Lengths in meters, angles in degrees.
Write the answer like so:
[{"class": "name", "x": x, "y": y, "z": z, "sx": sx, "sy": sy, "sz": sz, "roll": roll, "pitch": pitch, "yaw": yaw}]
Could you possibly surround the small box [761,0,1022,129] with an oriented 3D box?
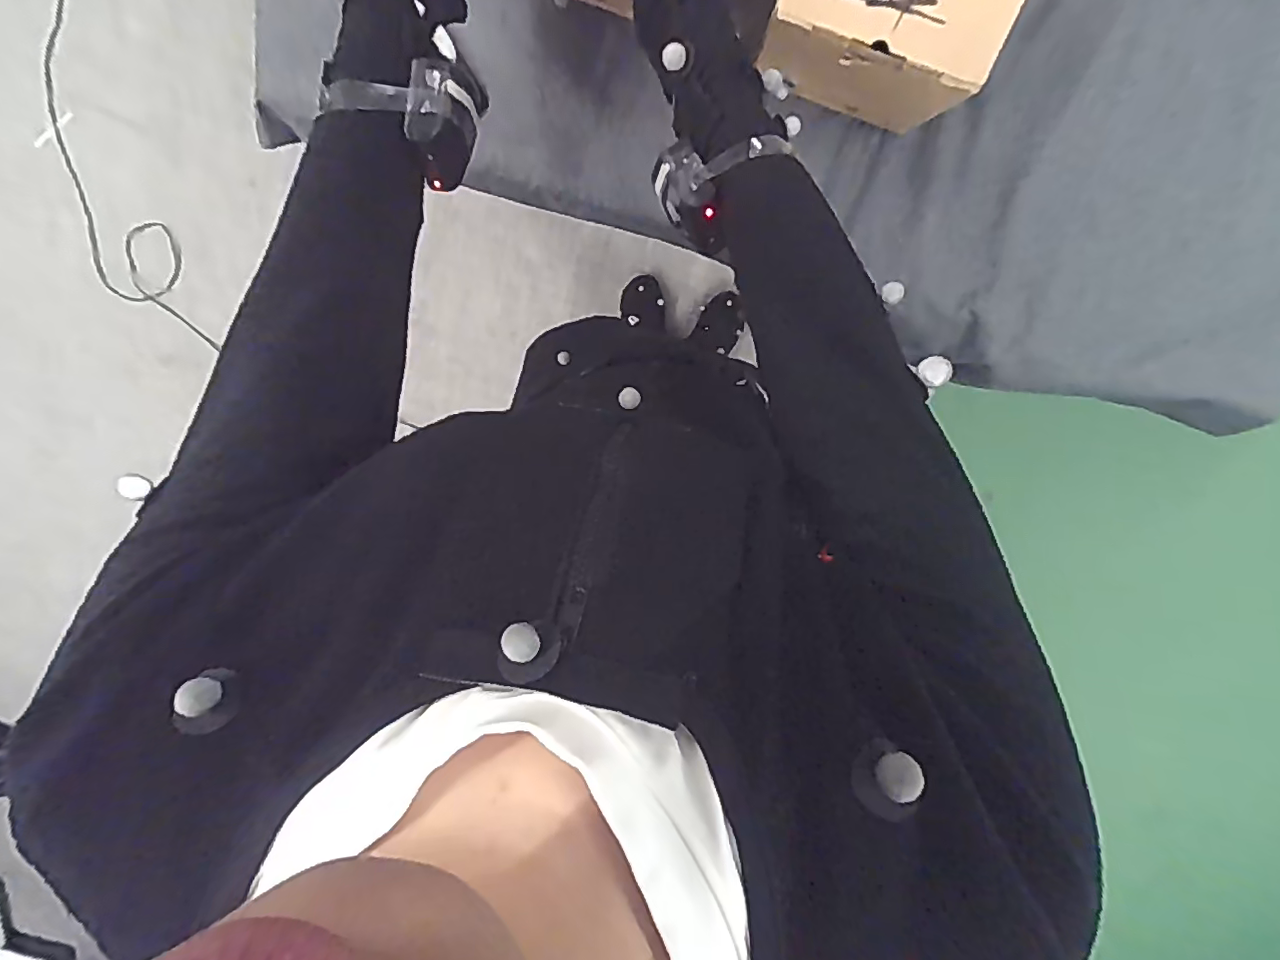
[{"class": "small box", "x": 0.208, "y": -0.417, "z": 0.437, "sx": 0.168, "sy": 0.176, "sz": 0.179, "roll": 19, "pitch": 113, "yaw": -3}]
